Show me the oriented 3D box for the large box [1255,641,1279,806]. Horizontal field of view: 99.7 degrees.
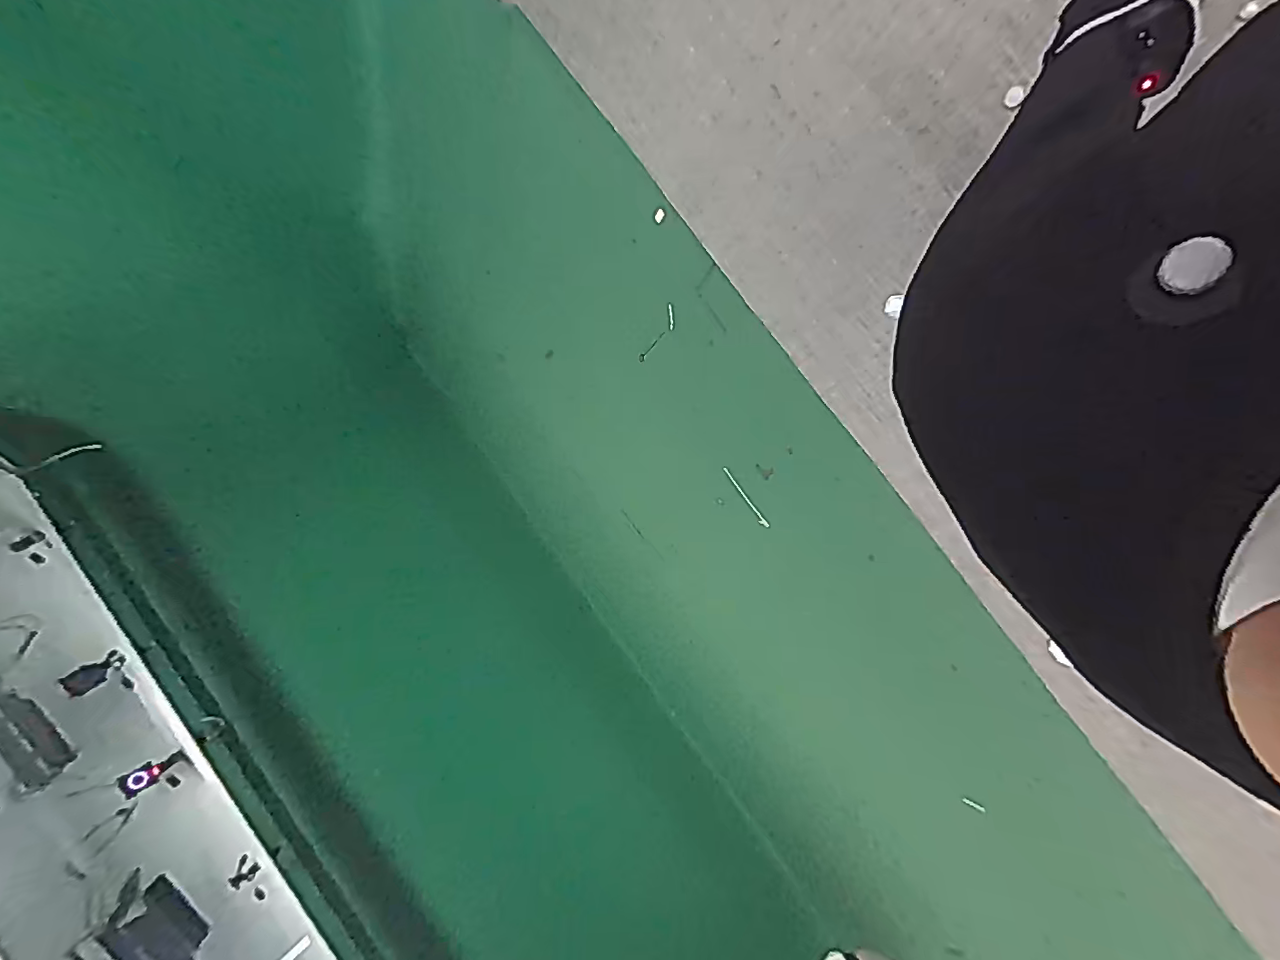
[{"bbox_3d":[1.293,0.394,0.838,0.408,0.320,0.320,14,131,46],"label":"large box"}]
